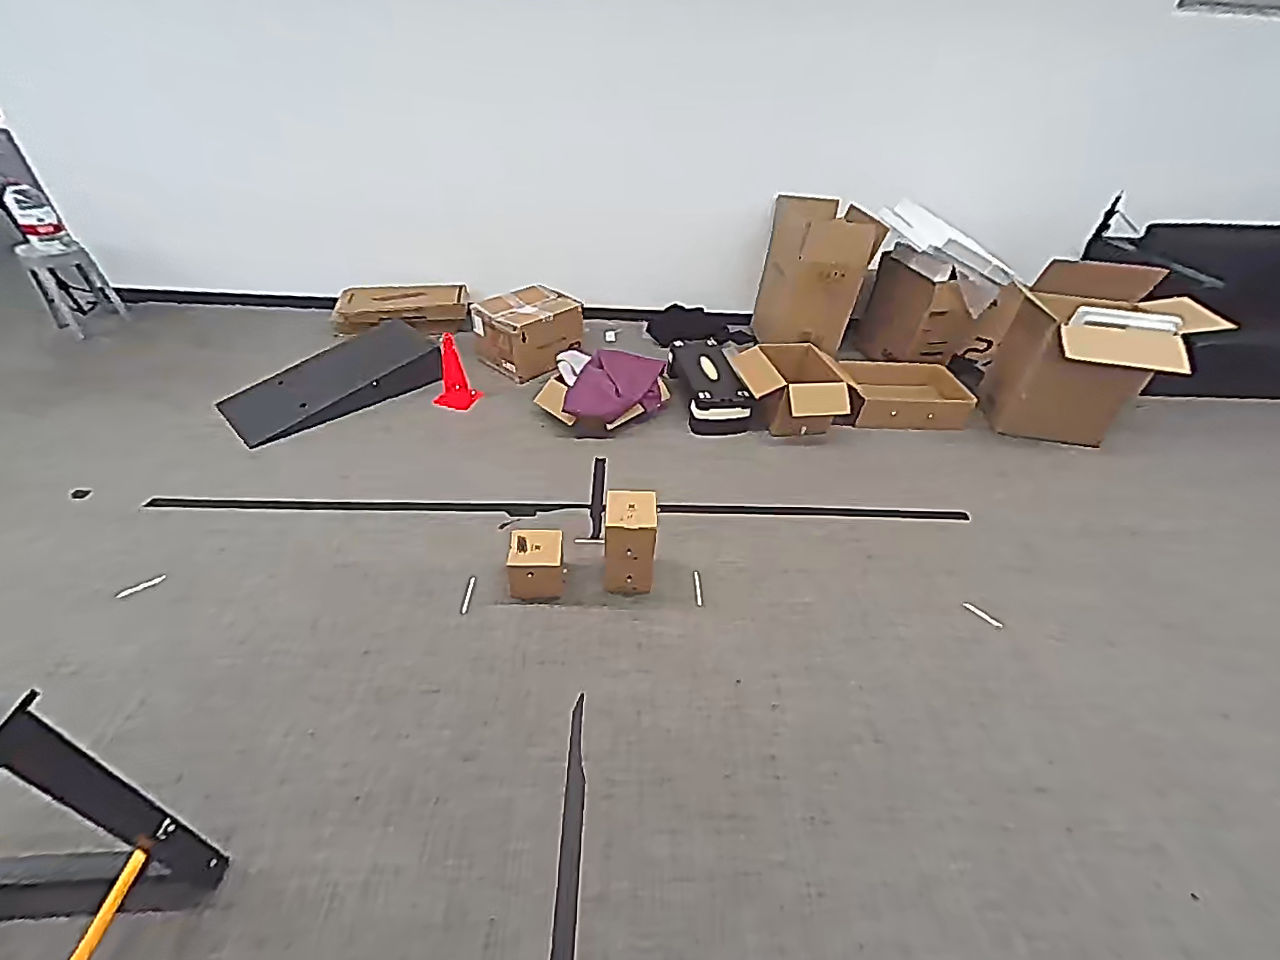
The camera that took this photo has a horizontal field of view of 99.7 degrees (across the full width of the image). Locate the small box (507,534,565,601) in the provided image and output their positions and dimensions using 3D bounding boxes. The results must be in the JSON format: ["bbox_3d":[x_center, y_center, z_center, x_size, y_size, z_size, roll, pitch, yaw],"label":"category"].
[{"bbox_3d":[-0.355,0.306,1.879,0.179,0.176,0.168,0,39,-5],"label":"small box"}]

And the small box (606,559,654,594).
[{"bbox_3d":[-0.037,0.291,1.926,0.168,0.176,0.179,1,40,-3],"label":"small box"}]

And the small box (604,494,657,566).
[{"bbox_3d":[-0.032,0.167,1.815,0.168,0.176,0.179,2,40,-2],"label":"small box"}]
